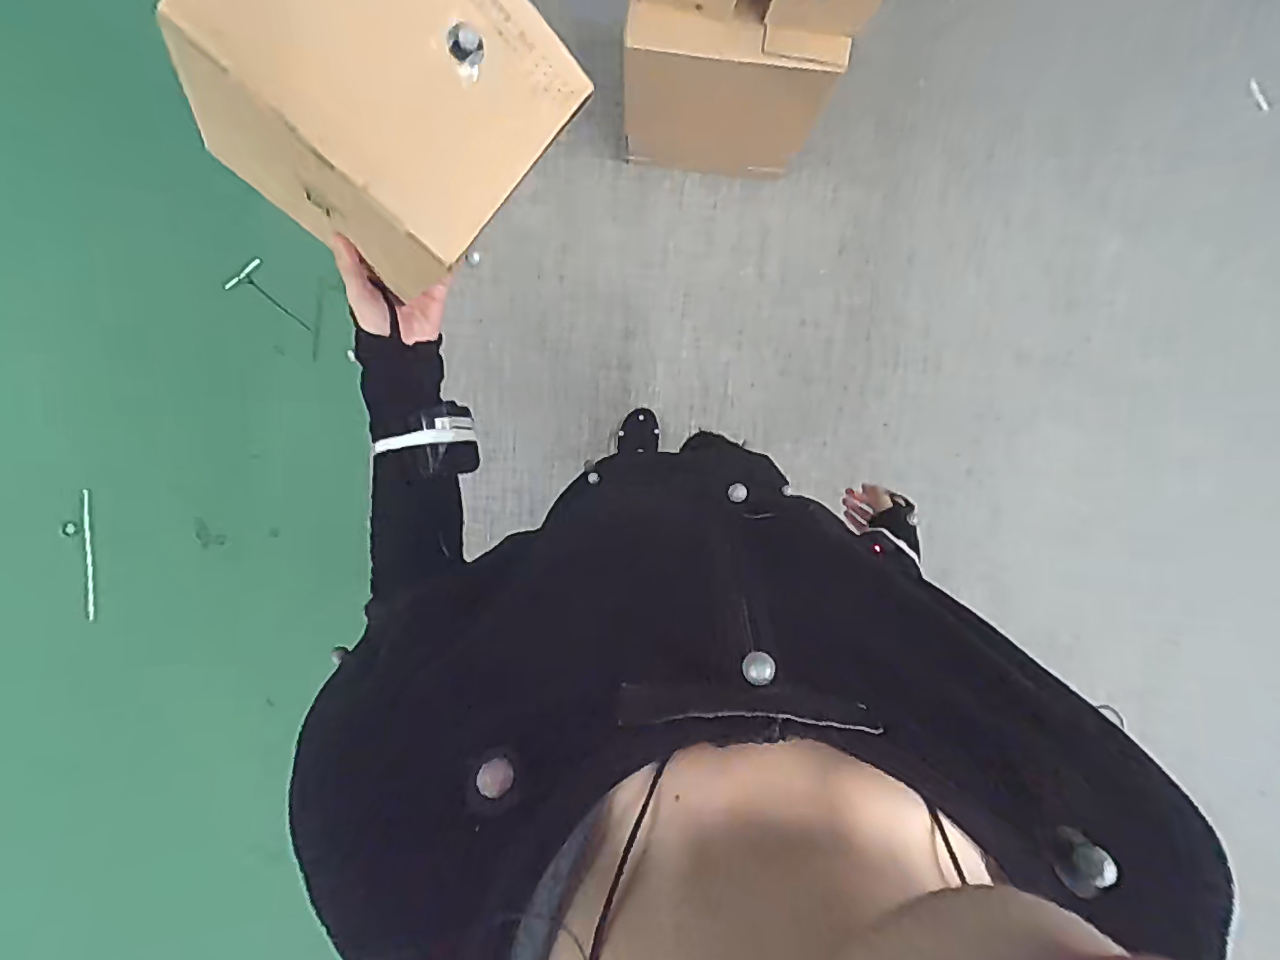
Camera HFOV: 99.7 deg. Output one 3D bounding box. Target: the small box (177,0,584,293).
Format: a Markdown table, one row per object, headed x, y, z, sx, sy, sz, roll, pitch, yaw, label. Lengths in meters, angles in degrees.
| x | y | z | sx | sy | sz | roll | pitch | yaw | label |
| --- | --- | --- | --- | --- | --- | --- | --- | --- | --- |
| -0.169 | -0.265 | 0.384 | 0.168 | 0.179 | 0.176 | 40 | 76 | -30 | small box |
